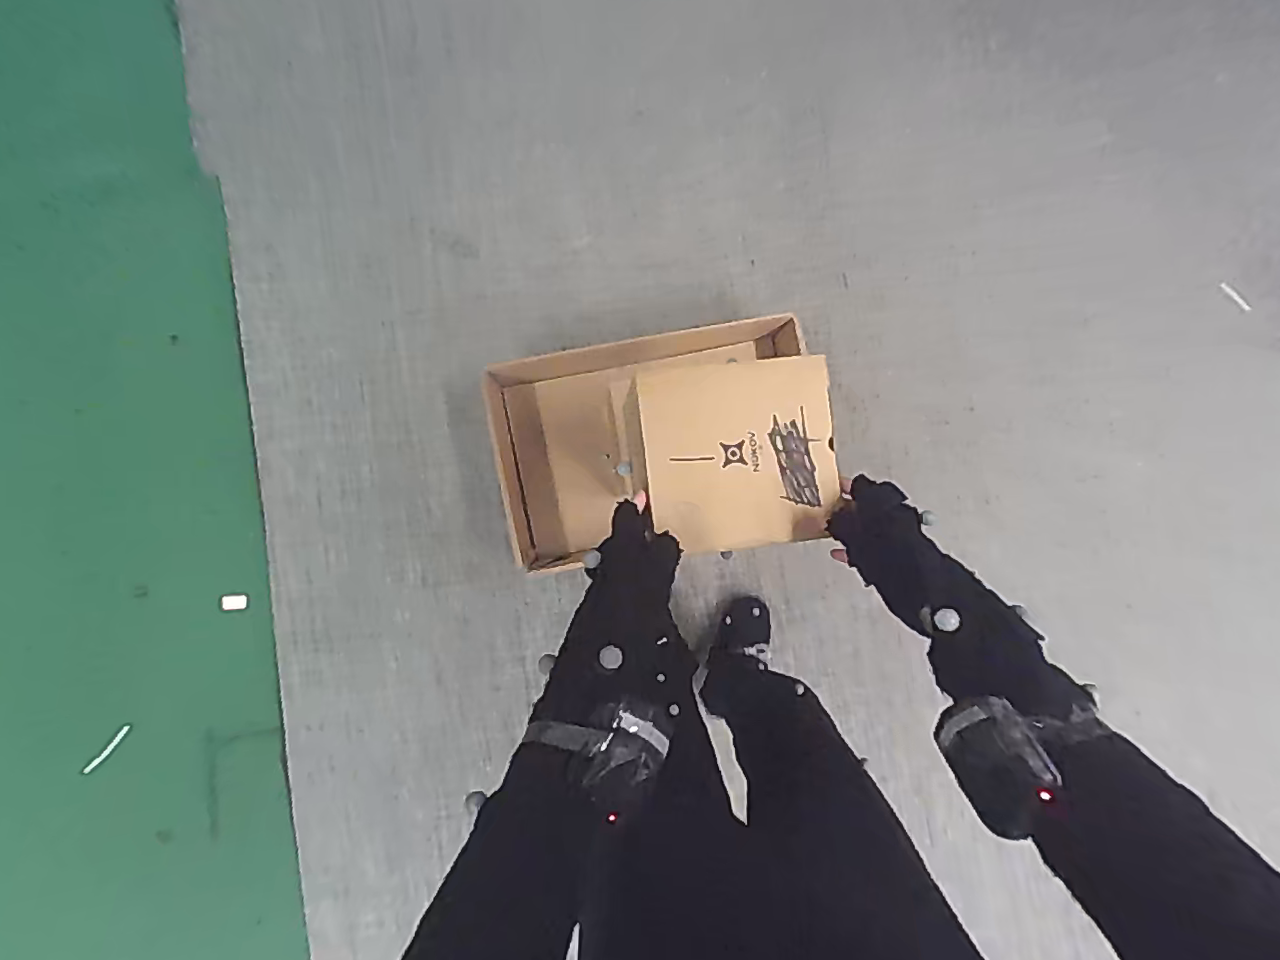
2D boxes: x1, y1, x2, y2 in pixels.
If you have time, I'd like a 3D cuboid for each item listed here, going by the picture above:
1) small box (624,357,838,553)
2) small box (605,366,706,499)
[{"bbox_3d":[0.082,-0.022,0.569,0.179,0.176,0.168,-7,89,-4],"label":"small box"},{"bbox_3d":[0.042,-0.073,0.897,0.168,0.176,0.179,-14,90,-4],"label":"small box"}]
